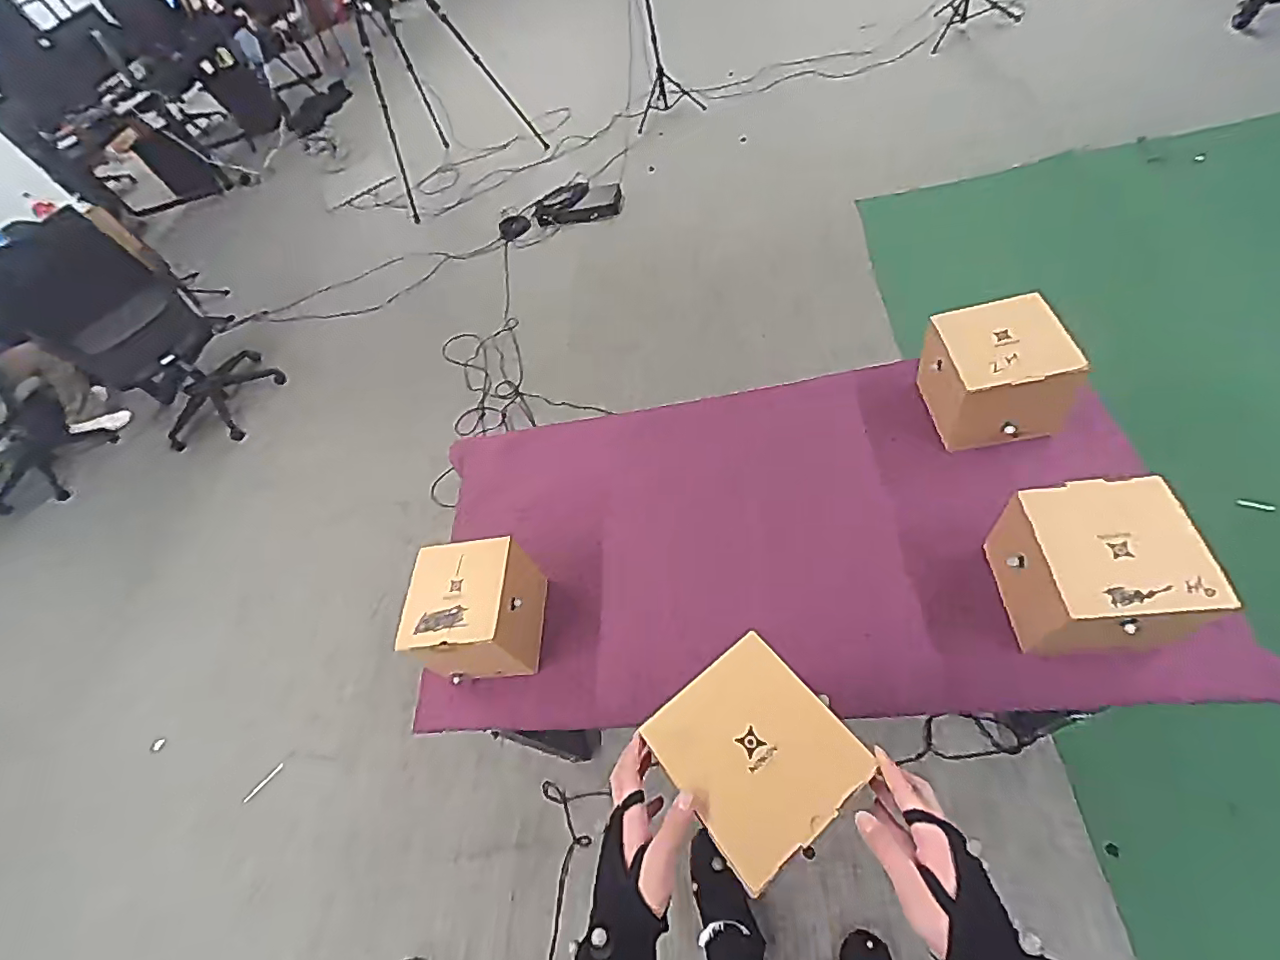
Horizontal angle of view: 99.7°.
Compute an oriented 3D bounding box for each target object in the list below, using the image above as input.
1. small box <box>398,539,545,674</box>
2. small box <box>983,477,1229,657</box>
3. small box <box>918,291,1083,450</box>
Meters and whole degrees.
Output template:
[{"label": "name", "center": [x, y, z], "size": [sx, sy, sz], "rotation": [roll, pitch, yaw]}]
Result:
[{"label": "small box", "center": [-0.272, 0.223, 0.918], "size": [0.168, 0.176, 0.179], "rotation": [-8, 54, 12]}, {"label": "small box", "center": [0.583, 0.120, 0.713], "size": [0.168, 0.176, 0.179], "rotation": [-8, 56, 14]}, {"label": "small box", "center": [0.583, -0.178, 0.906], "size": [0.168, 0.176, 0.179], "rotation": [-11, 56, 14]}]
